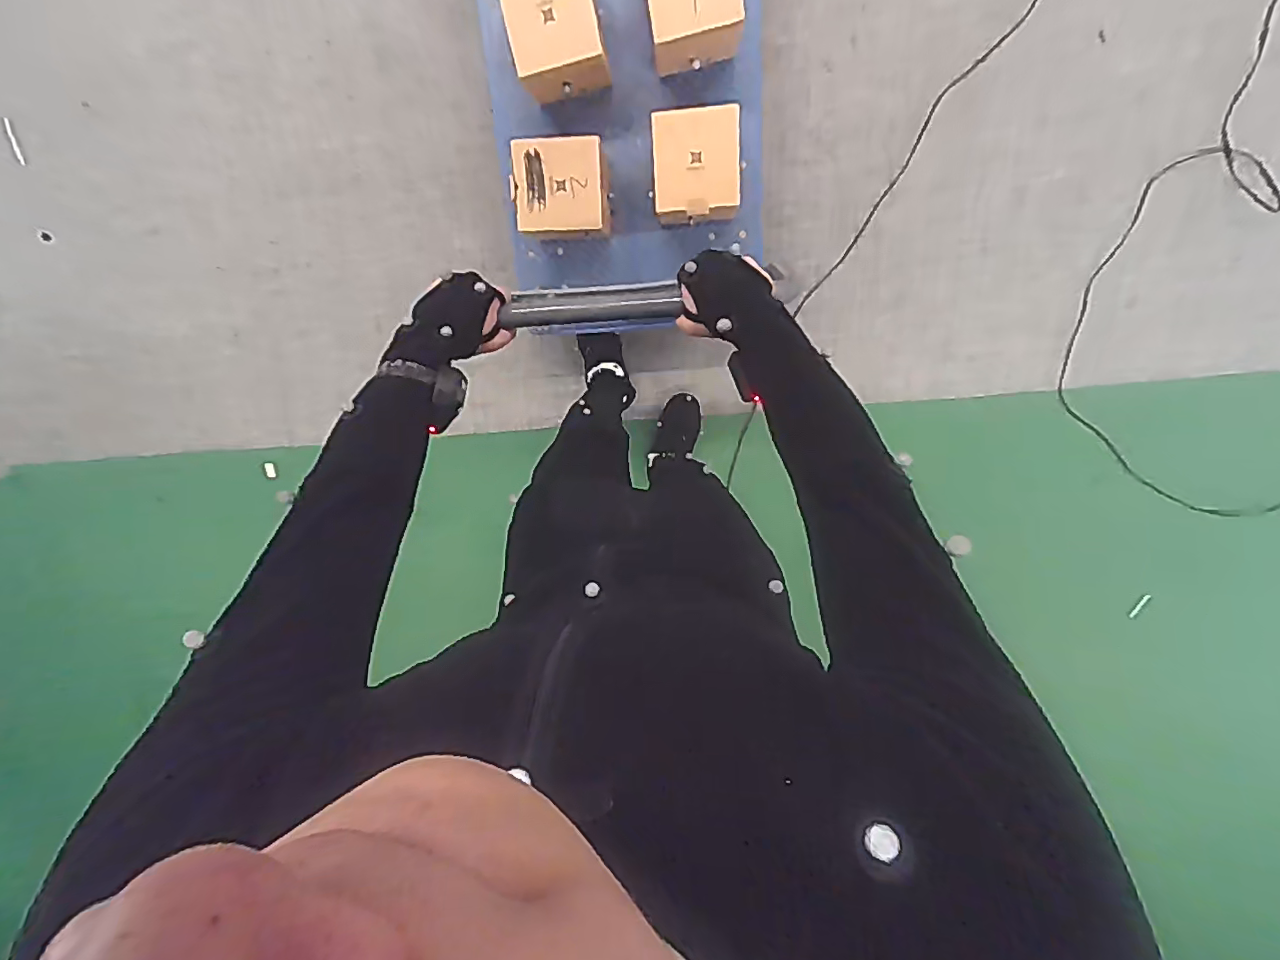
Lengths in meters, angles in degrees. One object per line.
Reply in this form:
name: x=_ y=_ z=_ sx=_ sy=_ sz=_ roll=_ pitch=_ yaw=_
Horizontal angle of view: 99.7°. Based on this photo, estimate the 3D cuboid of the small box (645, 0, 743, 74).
small box: x=0.093 y=-0.911 z=1.016 sx=0.168 sy=0.176 sz=0.179 roll=-9 pitch=109 yaw=8

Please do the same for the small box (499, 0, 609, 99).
small box: x=-0.163 y=-0.873 z=1.048 sx=0.168 sy=0.176 sz=0.179 roll=-11 pitch=108 yaw=7

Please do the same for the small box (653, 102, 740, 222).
small box: x=0.113 y=-0.642 z=1.110 sx=0.168 sy=0.176 sz=0.179 roll=-3 pitch=110 yaw=5
